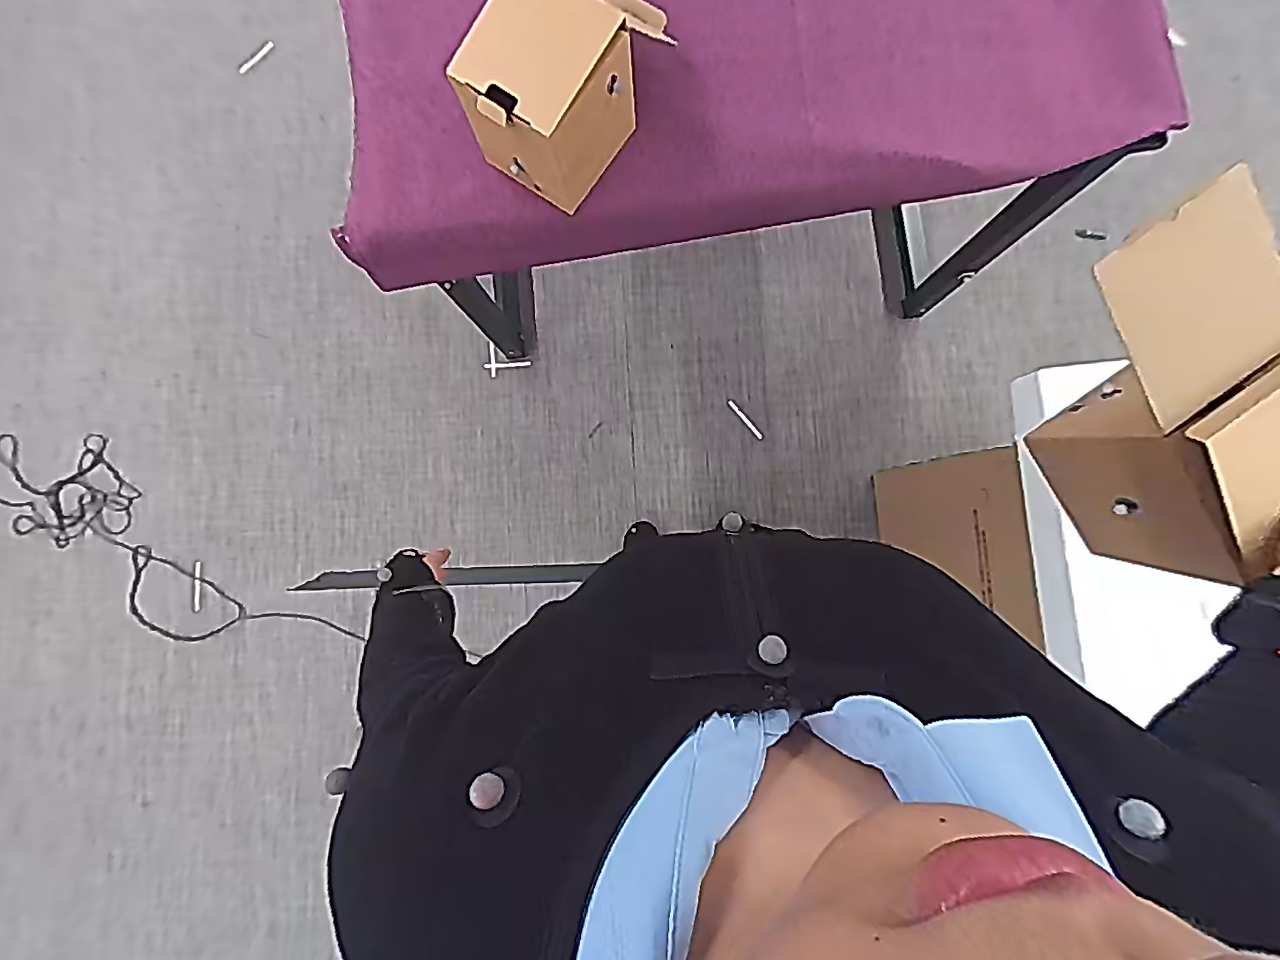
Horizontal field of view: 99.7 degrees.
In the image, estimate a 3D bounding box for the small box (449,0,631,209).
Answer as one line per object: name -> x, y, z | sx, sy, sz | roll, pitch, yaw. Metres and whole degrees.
small box -> -0.125, -0.530, 0.755 | 0.168, 0.176, 0.179 | 35, 87, 6
